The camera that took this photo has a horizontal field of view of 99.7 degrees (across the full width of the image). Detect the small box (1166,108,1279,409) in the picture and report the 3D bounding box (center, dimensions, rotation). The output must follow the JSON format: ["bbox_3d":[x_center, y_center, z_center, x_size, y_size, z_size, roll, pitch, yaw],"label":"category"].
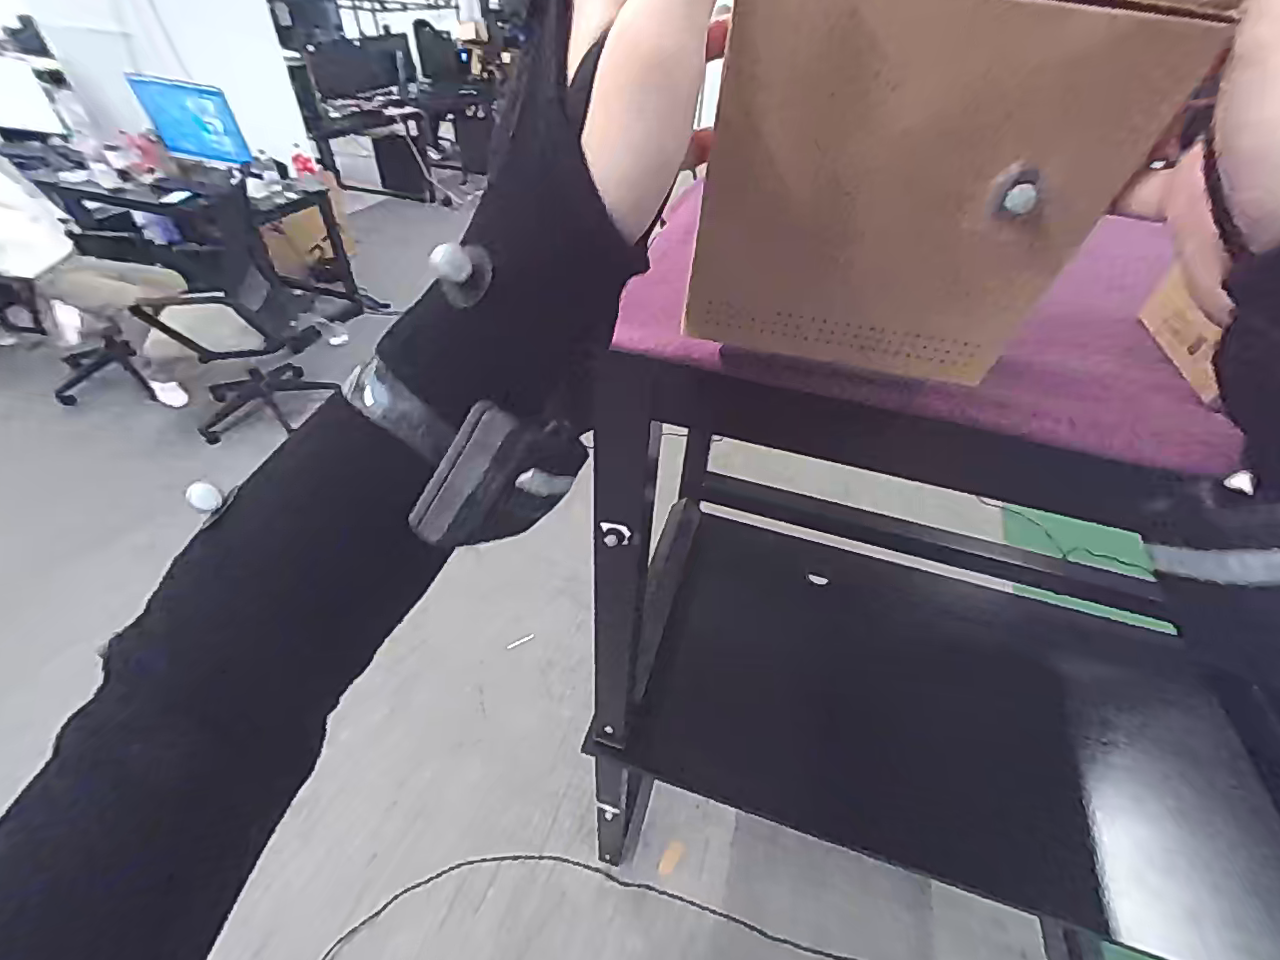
[{"bbox_3d":[0.492,-0.137,0.340,0.179,0.176,0.168,16,43,15],"label":"small box"}]
